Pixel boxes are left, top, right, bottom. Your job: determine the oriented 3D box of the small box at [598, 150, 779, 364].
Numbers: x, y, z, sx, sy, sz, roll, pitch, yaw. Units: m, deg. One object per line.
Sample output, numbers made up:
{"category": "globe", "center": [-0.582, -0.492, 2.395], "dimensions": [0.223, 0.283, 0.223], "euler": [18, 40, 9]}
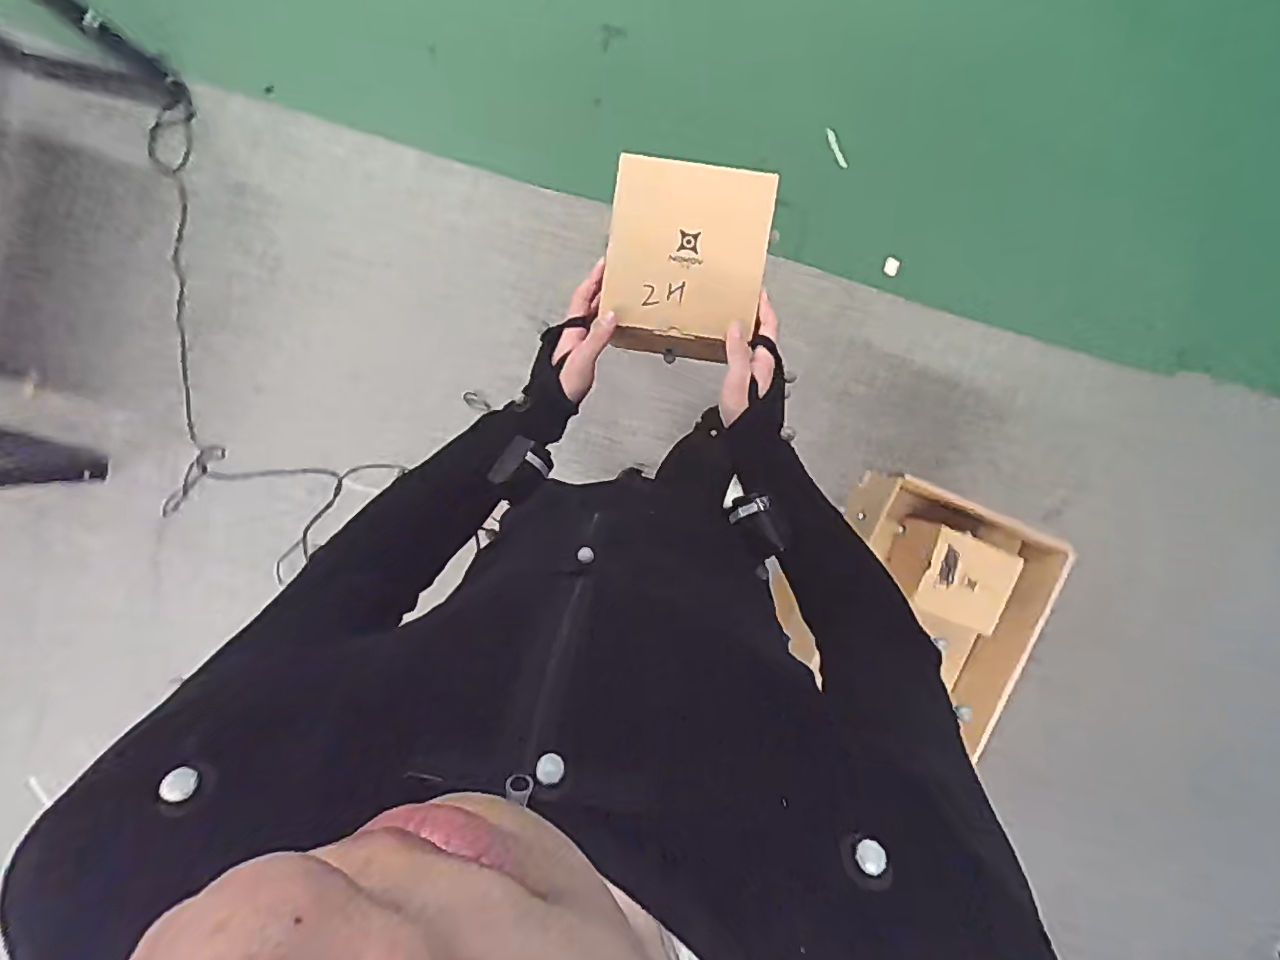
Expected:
{"category": "small box", "center": [0.050, -0.244, 0.631], "dimensions": [0.168, 0.176, 0.179], "euler": [8, 95, 1]}
